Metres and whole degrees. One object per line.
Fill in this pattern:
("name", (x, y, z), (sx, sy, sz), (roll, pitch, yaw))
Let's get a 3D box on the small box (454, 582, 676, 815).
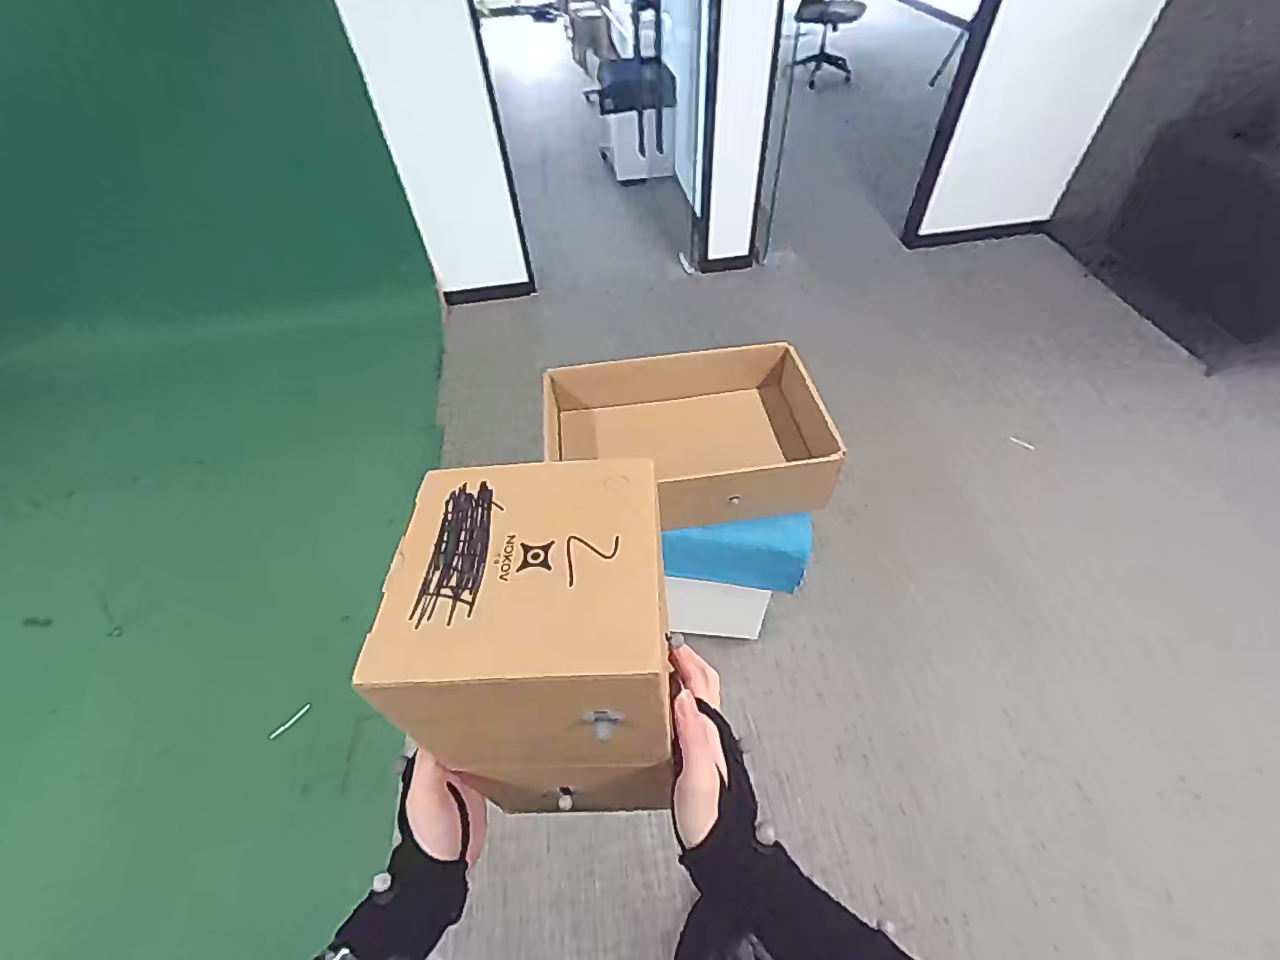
("small box", (-0.054, 0.217, 0.533), (0.179, 0.176, 0.168), (-4, 47, 4))
